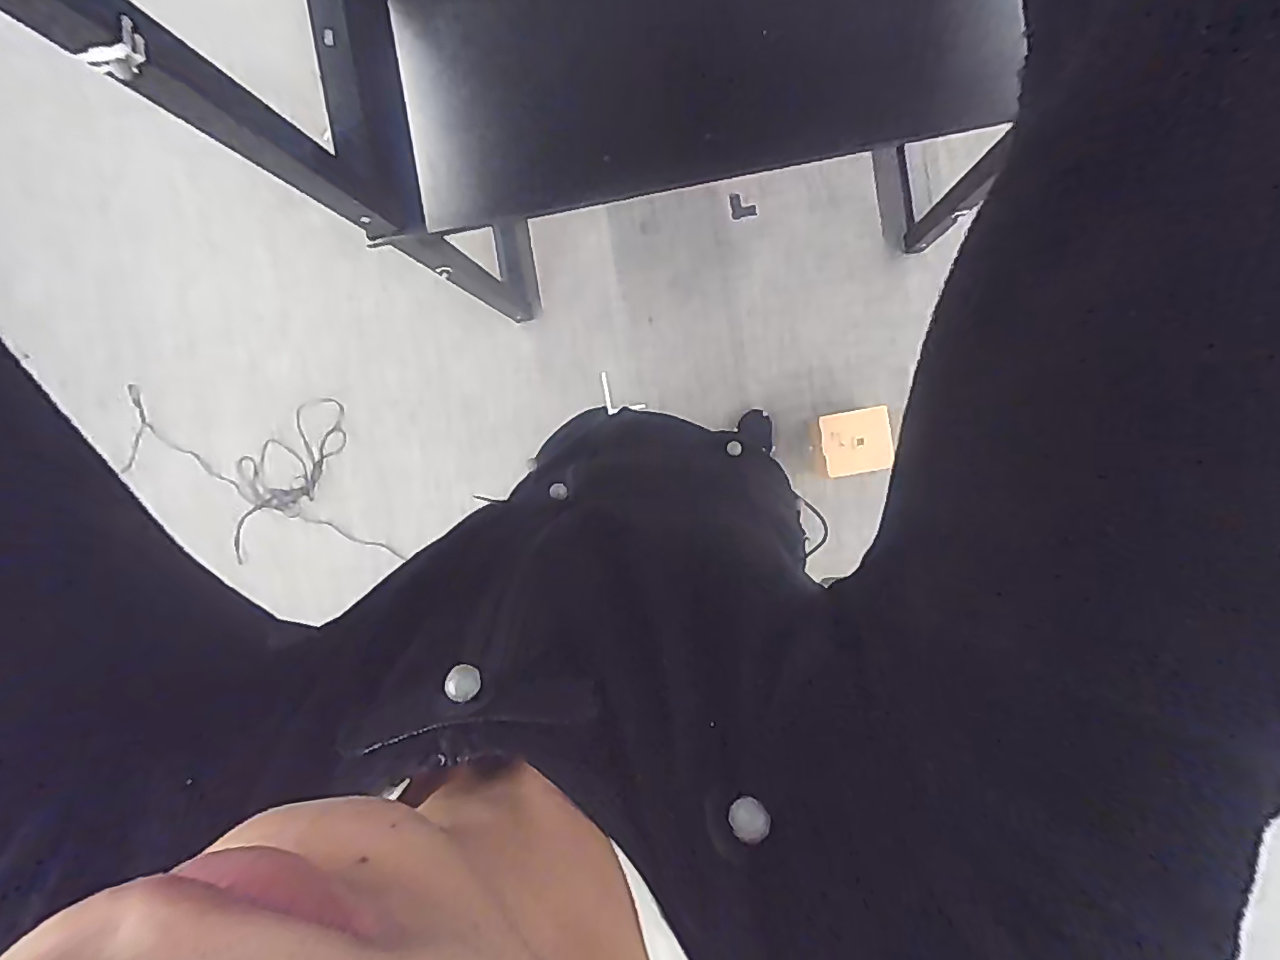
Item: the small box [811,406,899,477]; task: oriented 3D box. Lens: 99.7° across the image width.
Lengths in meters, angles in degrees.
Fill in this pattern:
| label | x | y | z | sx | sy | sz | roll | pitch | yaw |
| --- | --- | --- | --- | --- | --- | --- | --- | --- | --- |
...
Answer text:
| label | x | y | z | sx | sy | sz | roll | pitch | yaw |
| --- | --- | --- | --- | --- | --- | --- | --- | --- | --- |
| small box | 0.581 | -0.107 | 1.478 | 0.179 | 0.176 | 0.168 | -10 | 93 | 8 |
